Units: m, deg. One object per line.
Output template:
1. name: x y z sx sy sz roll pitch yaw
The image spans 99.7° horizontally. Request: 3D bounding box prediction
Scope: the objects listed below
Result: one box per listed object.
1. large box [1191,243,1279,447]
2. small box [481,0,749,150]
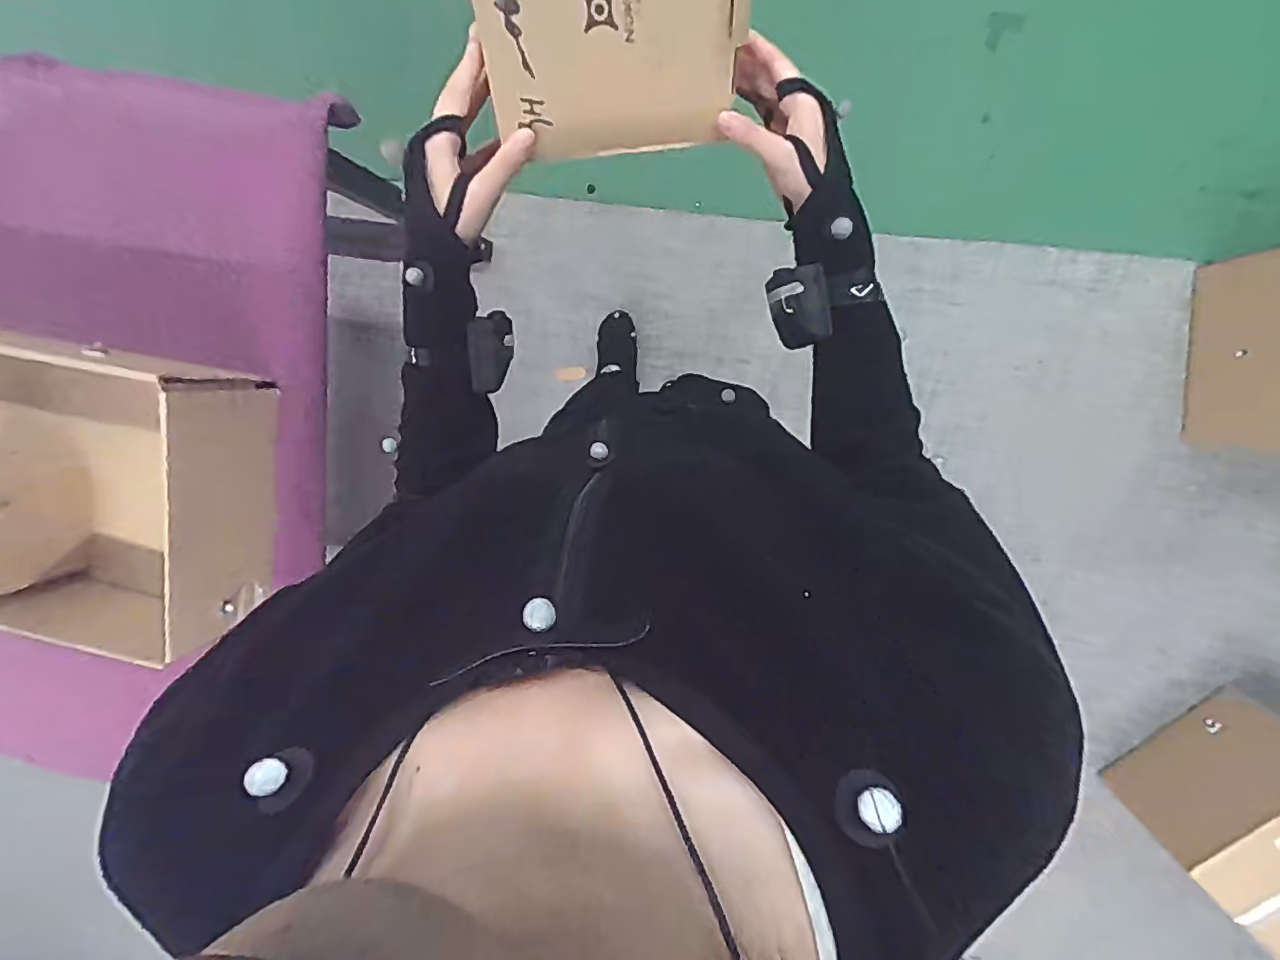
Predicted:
1. large box: 1.425 -0.288 1.102 0.320 0.320 0.408 -5 98 8
2. small box: -0.028 -0.364 0.394 0.179 0.176 0.168 -9 137 -7
